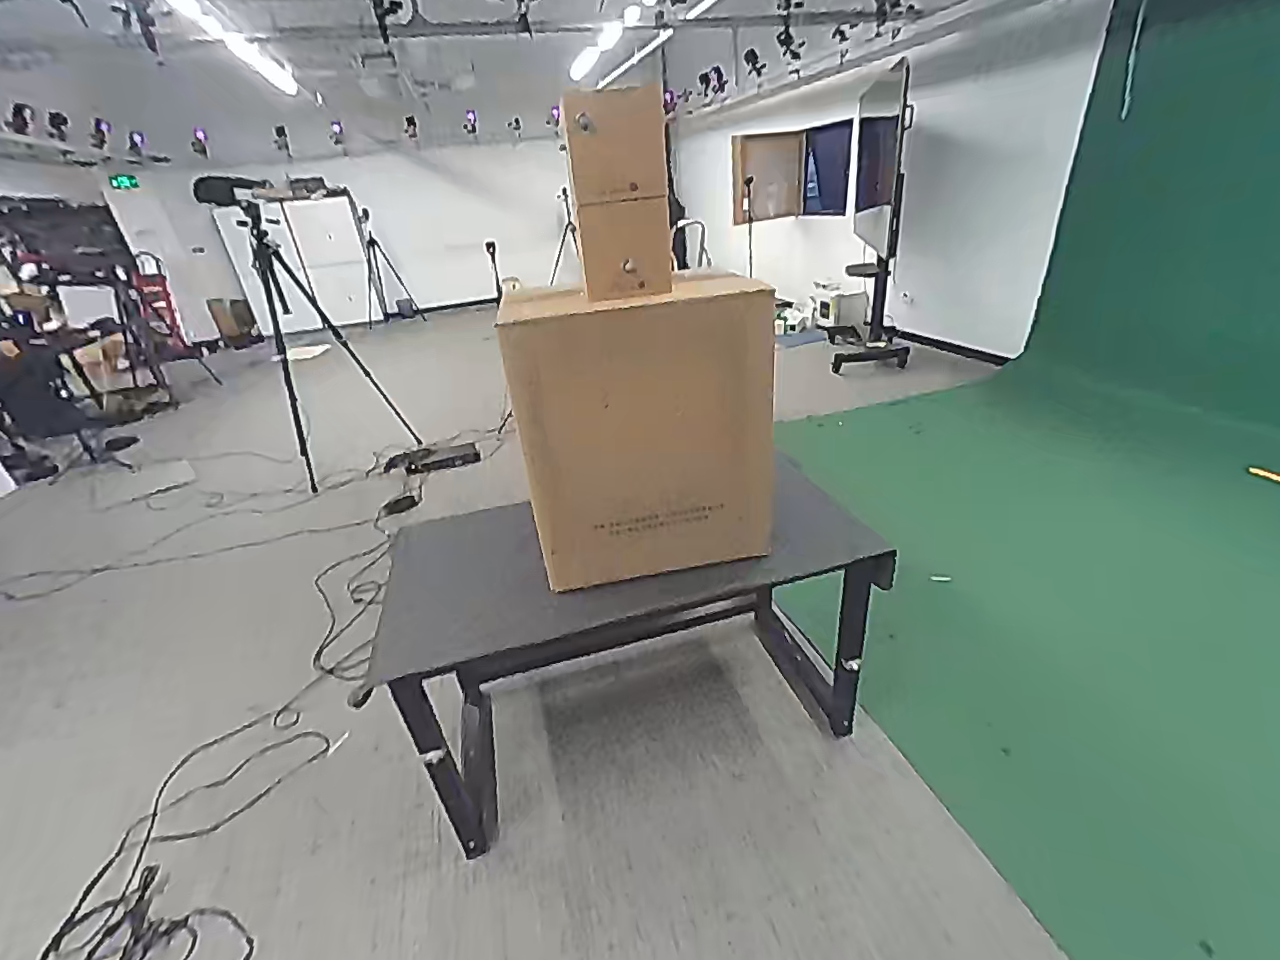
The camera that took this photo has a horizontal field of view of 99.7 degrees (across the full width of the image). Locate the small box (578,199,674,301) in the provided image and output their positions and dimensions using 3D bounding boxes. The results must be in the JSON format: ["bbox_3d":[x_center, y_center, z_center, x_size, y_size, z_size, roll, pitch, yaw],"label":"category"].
[{"bbox_3d":[-0.030,-0.462,1.083,0.168,0.176,0.179,-8,30,-6],"label":"small box"}]
